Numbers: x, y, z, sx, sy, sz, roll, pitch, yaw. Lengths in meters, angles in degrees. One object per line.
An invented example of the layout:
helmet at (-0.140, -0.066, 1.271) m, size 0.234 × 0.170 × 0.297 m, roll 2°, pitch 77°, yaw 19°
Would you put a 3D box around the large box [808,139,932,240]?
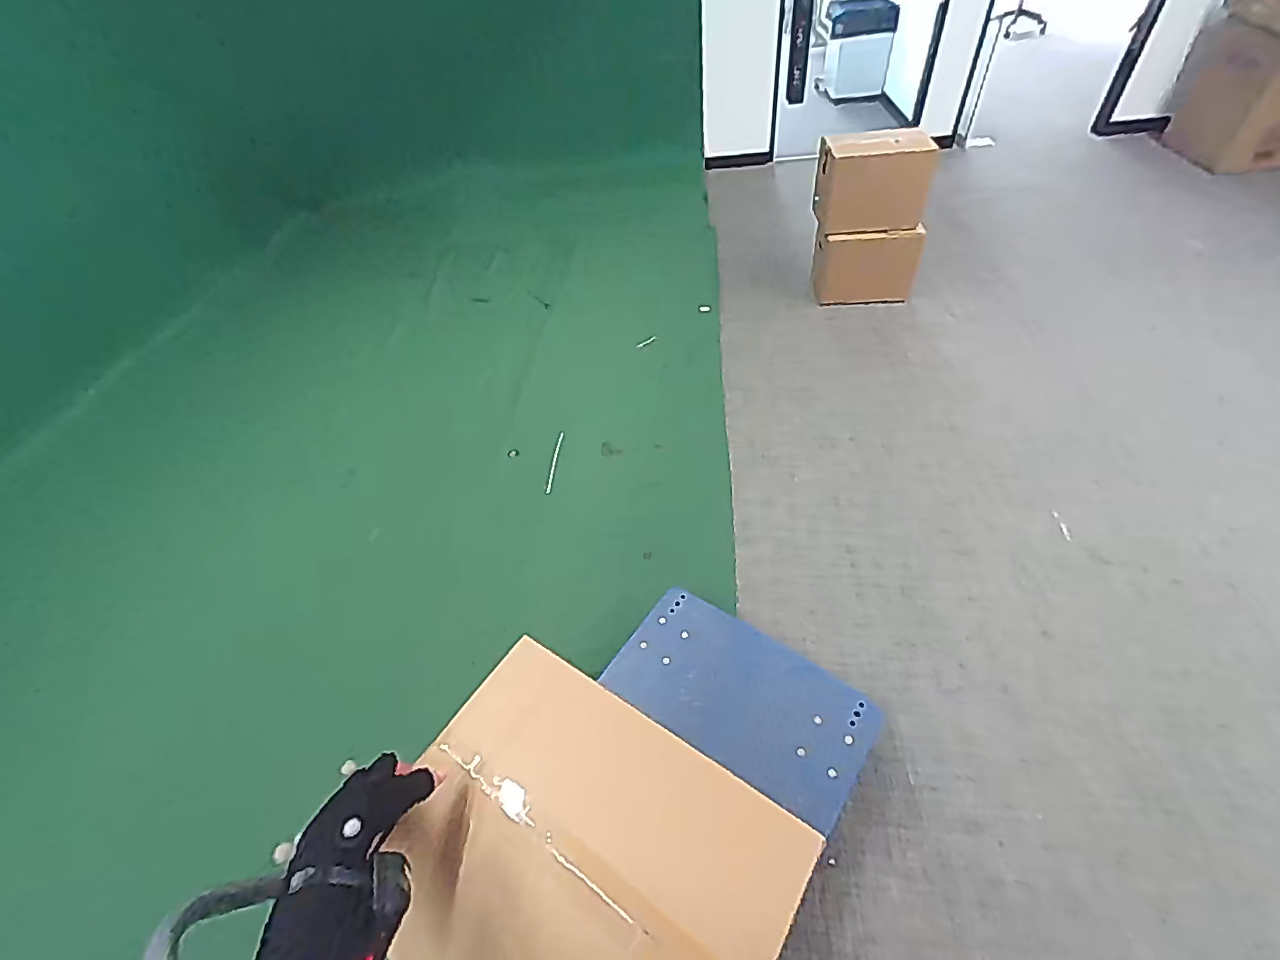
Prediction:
large box at (0.983, -1.271, 2.365) m, size 0.408 × 0.320 × 0.320 m, roll 0°, pitch 45°, yaw 6°
